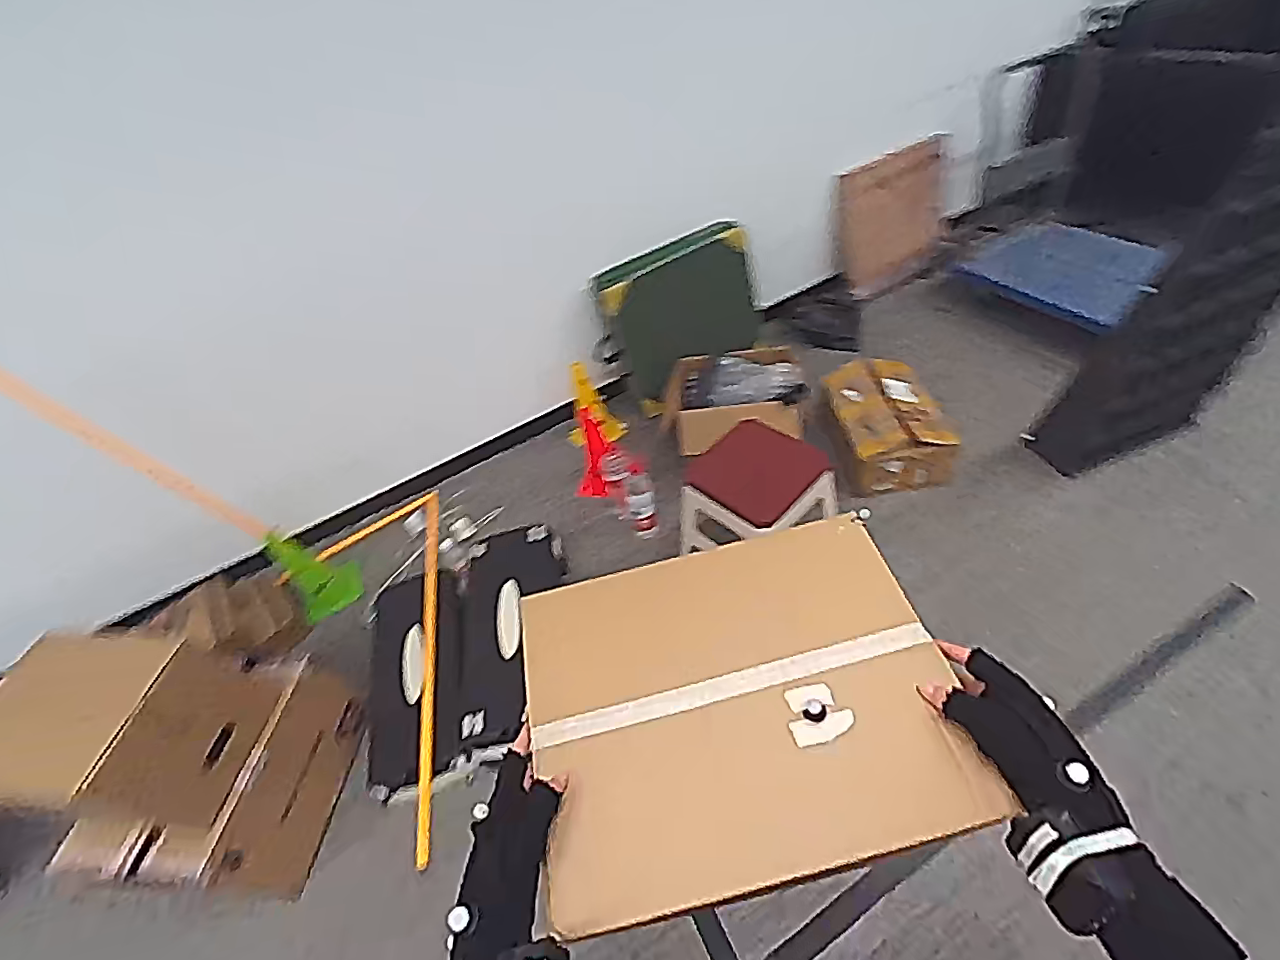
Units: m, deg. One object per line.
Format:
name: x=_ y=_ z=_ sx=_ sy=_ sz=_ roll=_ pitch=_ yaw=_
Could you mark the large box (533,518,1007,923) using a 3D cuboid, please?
large box: x=0.114 y=0.300 z=0.662 sx=0.408 sy=0.320 sz=0.320 roll=-14 pitch=51 yaw=-1
